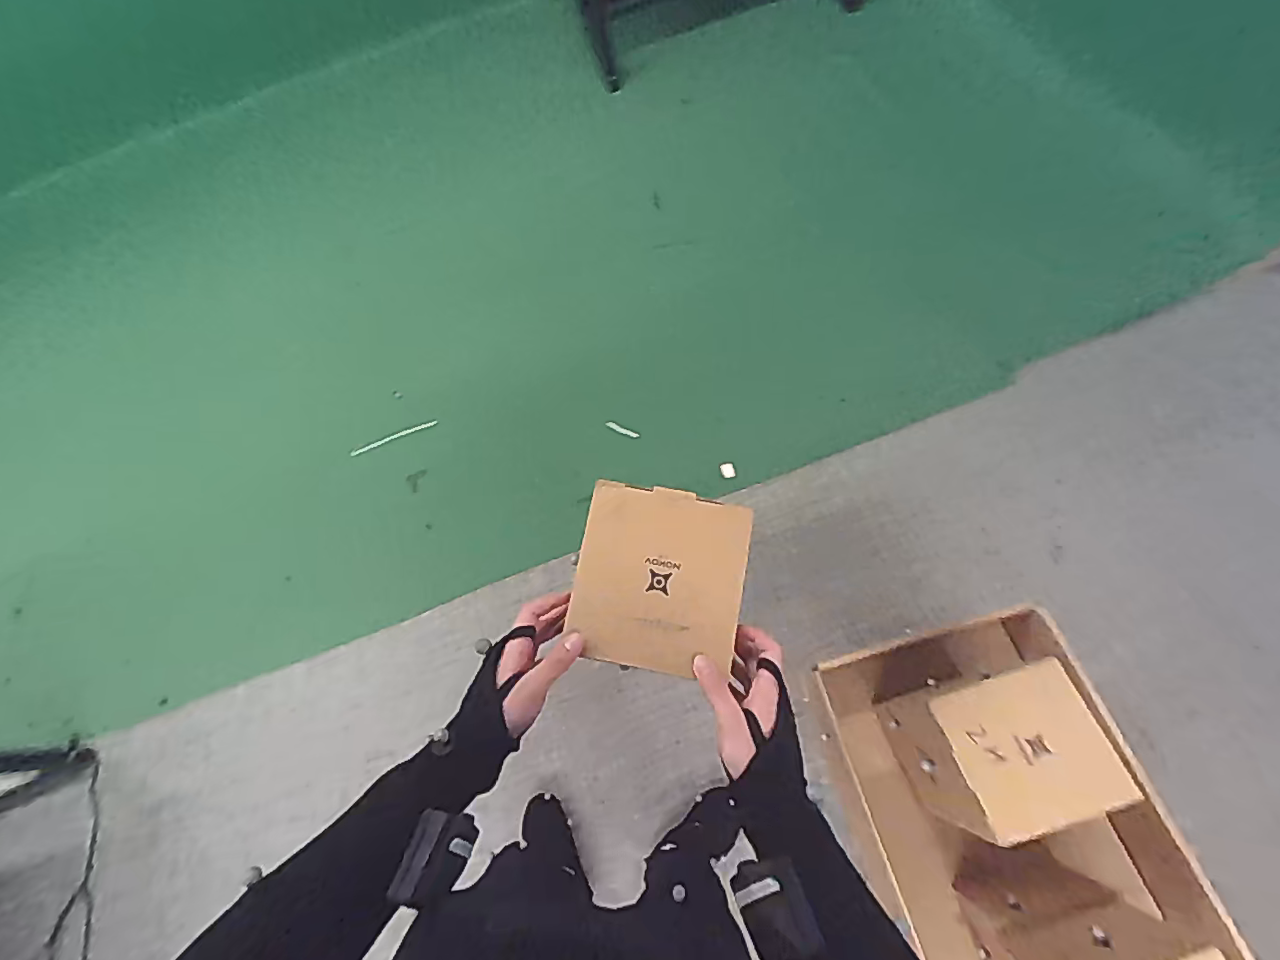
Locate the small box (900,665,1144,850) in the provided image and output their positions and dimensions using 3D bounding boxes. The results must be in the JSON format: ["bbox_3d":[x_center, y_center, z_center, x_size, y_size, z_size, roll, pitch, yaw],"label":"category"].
[{"bbox_3d":[0.484,0.360,0.722,0.179,0.176,0.168,-19,64,1],"label":"small box"}]

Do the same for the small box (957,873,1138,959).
[{"bbox_3d":[0.585,0.675,0.748,0.179,0.176,0.168,-15,65,4],"label":"small box"}]

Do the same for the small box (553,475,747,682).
[{"bbox_3d":[0.011,0.111,0.604,0.168,0.176,0.179,11,76,2],"label":"small box"}]

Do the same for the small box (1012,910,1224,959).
[{"bbox_3d":[0.554,0.619,0.596,0.179,0.176,0.168,-19,65,1],"label":"small box"}]
